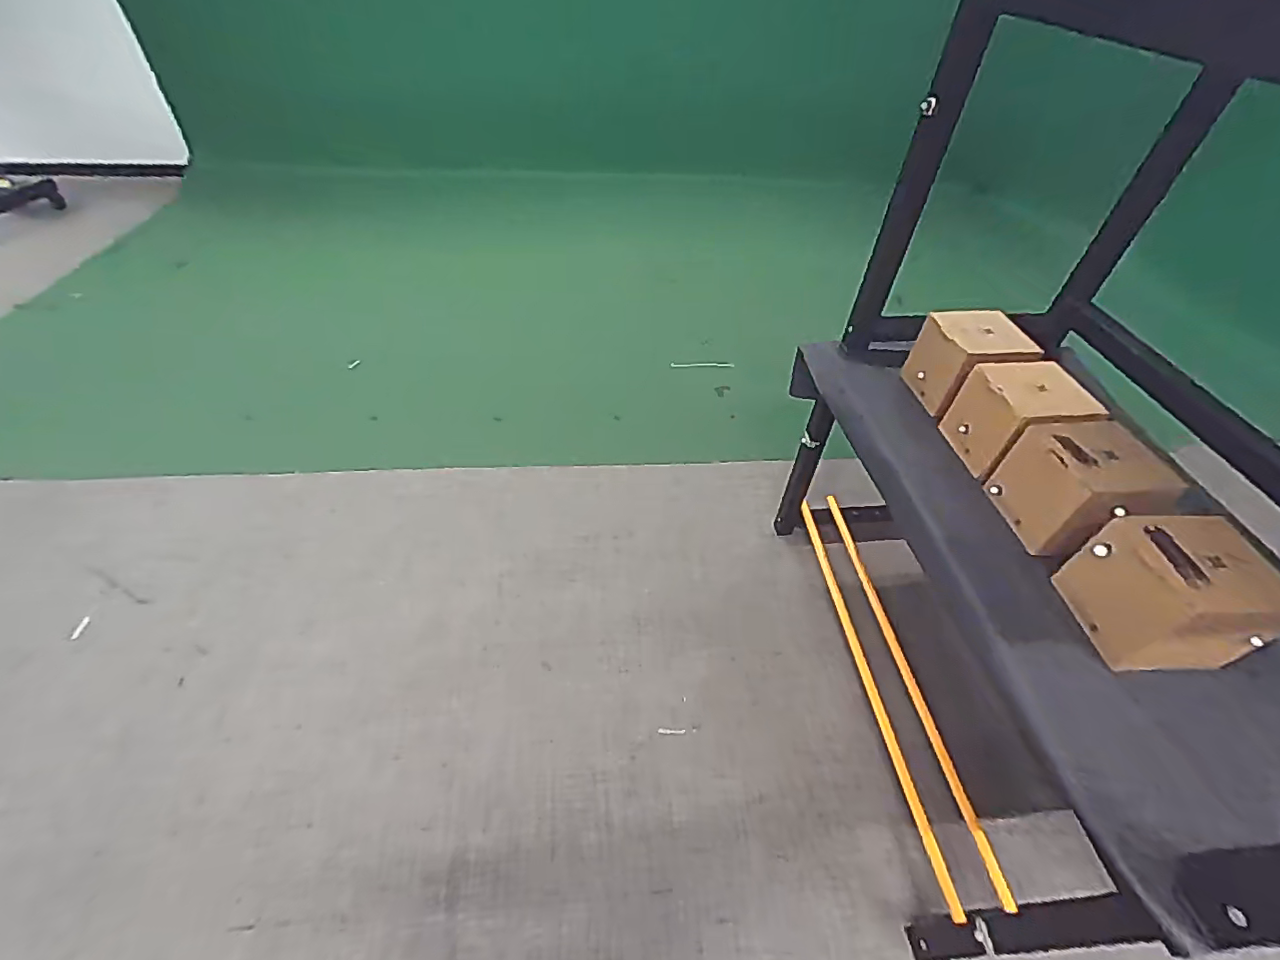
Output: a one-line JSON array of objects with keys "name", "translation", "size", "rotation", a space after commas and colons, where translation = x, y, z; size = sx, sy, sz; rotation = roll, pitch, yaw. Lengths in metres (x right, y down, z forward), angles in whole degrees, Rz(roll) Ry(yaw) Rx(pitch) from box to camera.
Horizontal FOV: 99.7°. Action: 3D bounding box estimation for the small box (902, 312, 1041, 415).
[{"name": "small box", "translation": [0.735, -0.261, 1.222], "size": [0.179, 0.176, 0.168], "rotation": [-4, 47, -6]}]
